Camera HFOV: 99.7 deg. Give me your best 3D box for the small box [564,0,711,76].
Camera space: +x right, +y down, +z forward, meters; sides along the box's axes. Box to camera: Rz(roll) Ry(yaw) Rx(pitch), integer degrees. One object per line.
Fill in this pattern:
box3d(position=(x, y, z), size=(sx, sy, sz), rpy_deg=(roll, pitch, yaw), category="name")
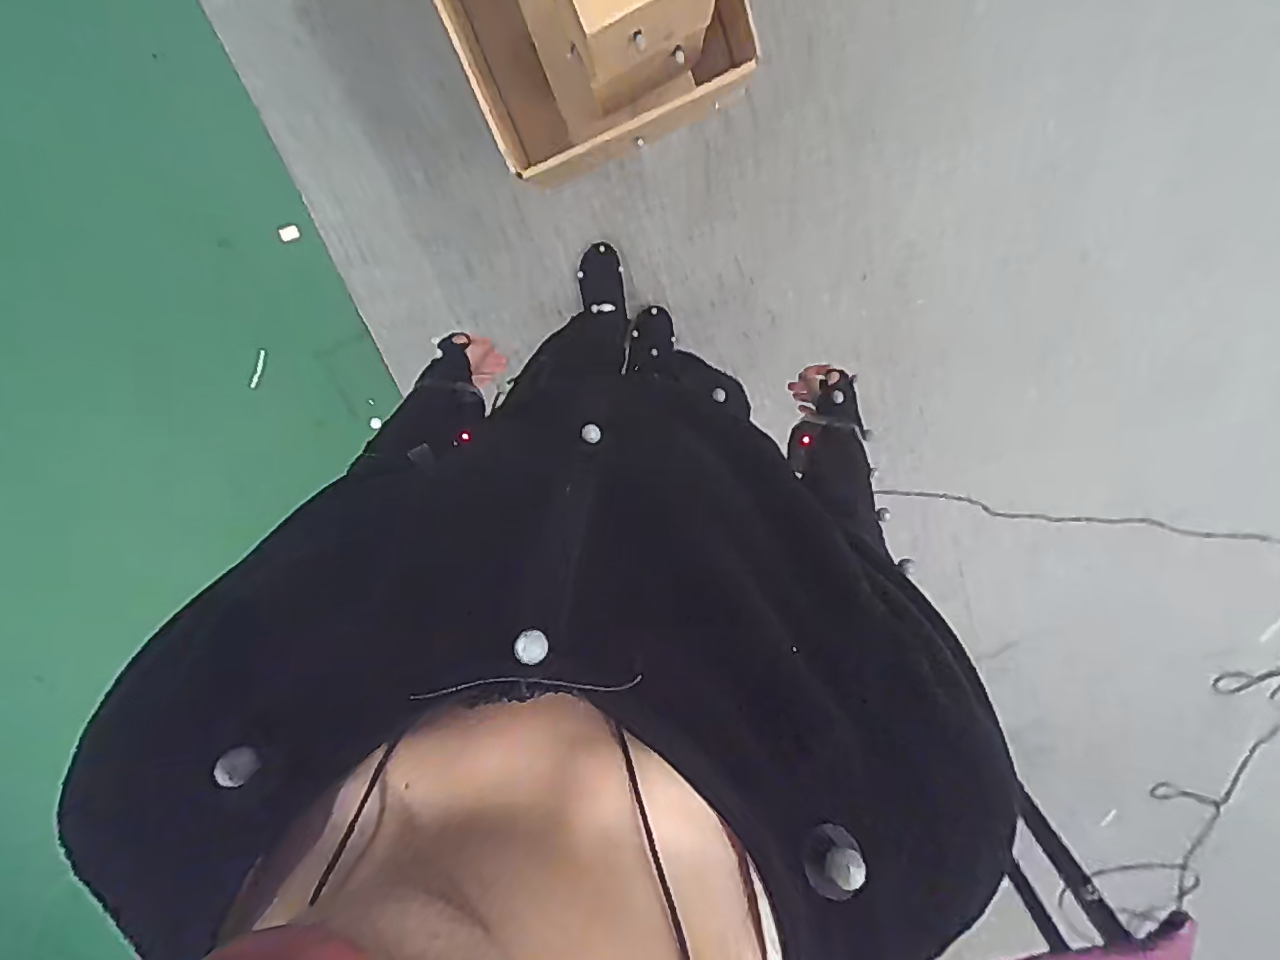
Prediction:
box3d(position=(-0.017, -0.612, 0.629), size=(0.168, 0.176, 0.179), rpy_deg=(-22, 109, 9), category="small box")
